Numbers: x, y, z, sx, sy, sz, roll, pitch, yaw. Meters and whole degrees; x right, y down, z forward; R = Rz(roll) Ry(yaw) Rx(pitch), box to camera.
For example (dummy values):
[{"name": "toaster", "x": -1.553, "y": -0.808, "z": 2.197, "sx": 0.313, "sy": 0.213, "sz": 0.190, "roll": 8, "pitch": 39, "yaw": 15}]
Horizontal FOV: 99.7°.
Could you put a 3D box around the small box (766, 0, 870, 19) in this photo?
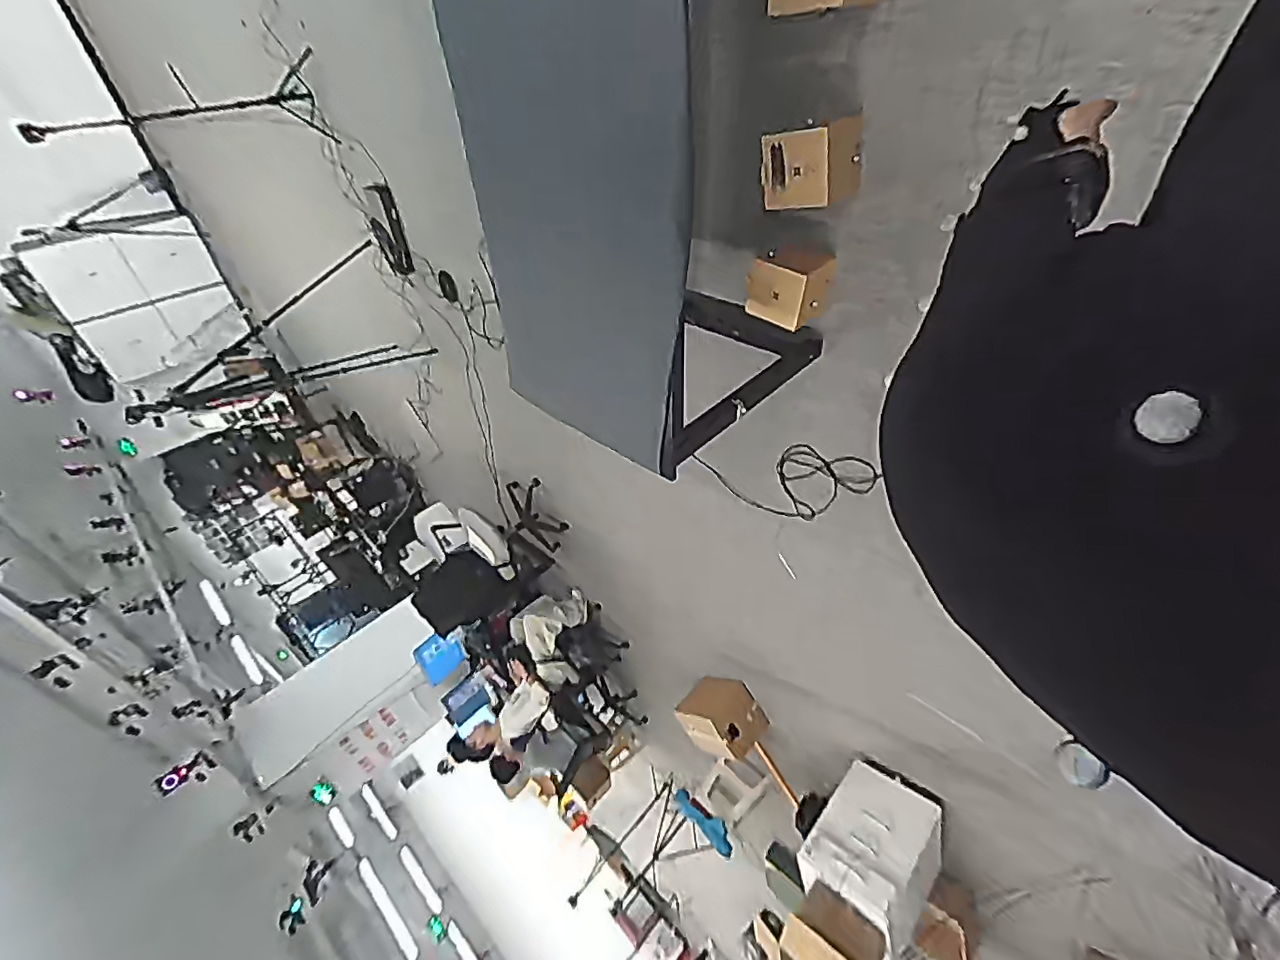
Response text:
[{"name": "small box", "x": 0.381, "y": -1.066, "z": 1.108, "sx": 0.179, "sy": 0.176, "sz": 0.168, "roll": 27, "pitch": 139, "yaw": 35}]

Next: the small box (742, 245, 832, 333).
[{"name": "small box", "x": 0.423, "y": -0.556, "z": 1.555, "sx": 0.179, "sy": 0.176, "sz": 0.168, "roll": 34, "pitch": 144, "yaw": 29}]
